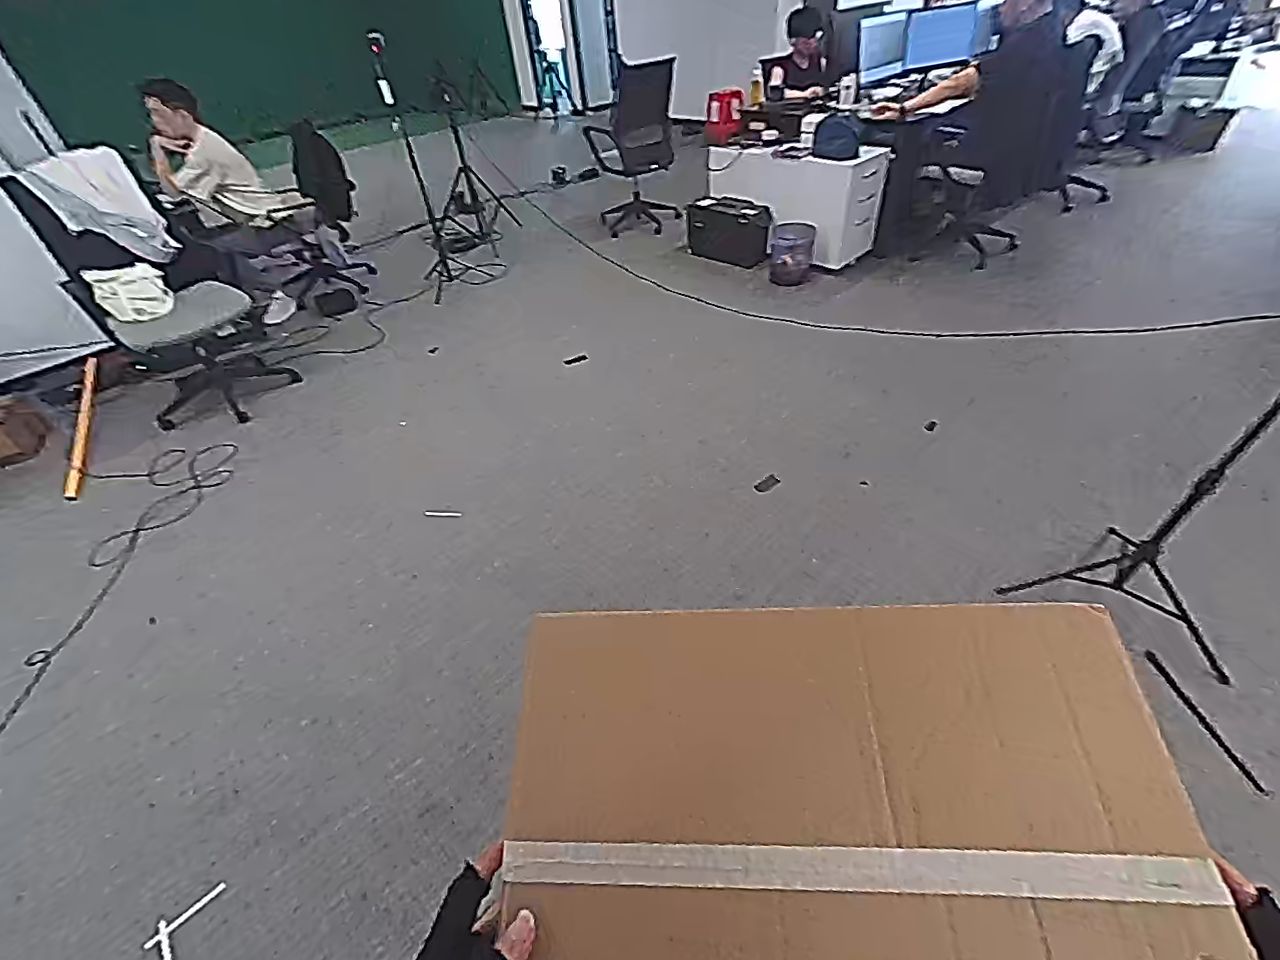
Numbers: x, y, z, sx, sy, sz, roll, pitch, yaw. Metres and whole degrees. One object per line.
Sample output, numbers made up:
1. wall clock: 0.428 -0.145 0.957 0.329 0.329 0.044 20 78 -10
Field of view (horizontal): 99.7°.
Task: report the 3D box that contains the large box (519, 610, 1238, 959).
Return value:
1. large box: 0.139 0.310 0.457 0.408 0.320 0.320 -3 61 6
